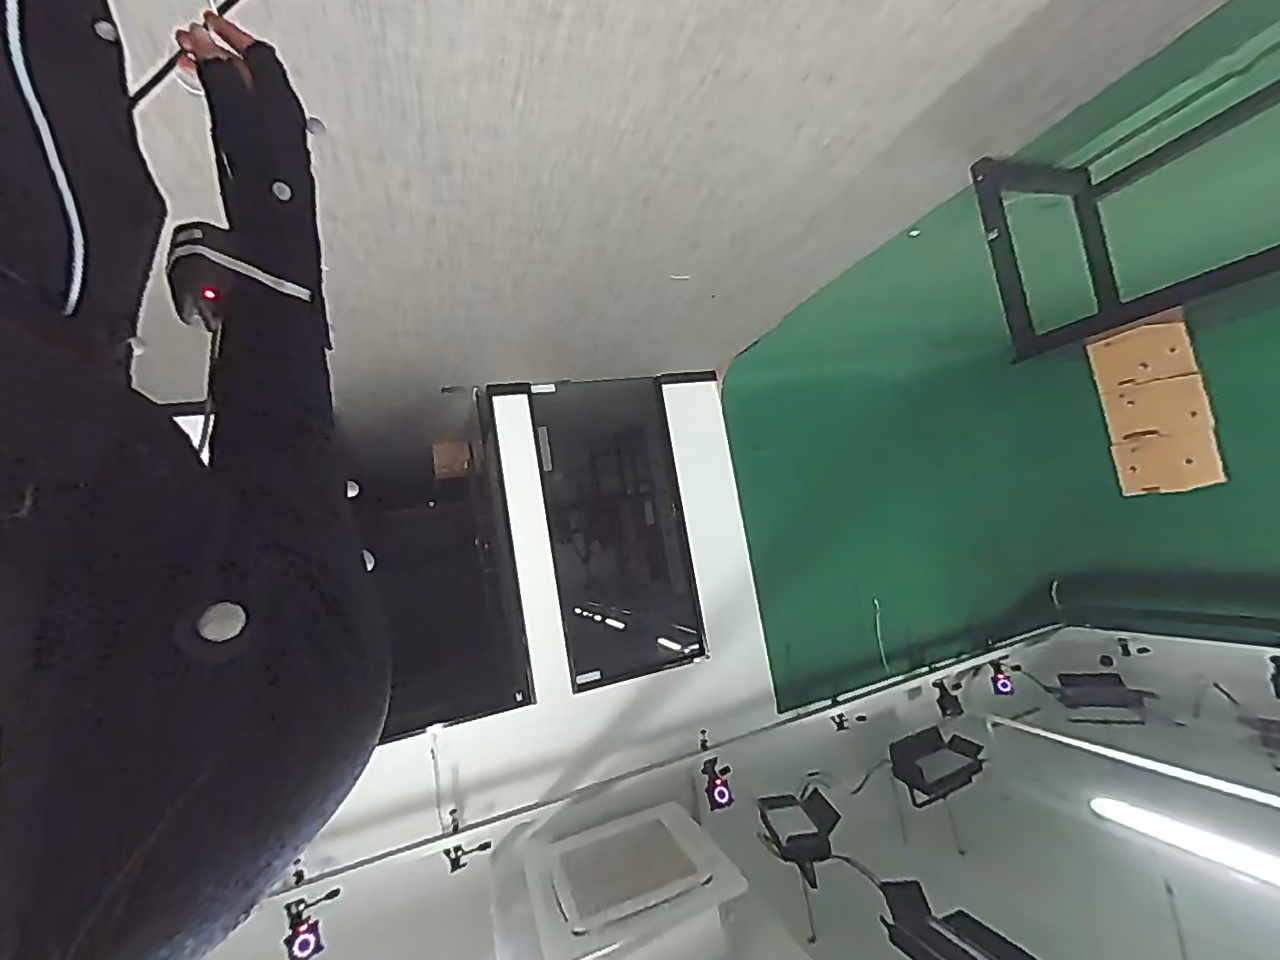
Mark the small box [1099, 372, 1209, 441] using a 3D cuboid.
[{"bbox_3d":[1.581,-0.229,1.669,0.179,0.176,0.168,-9,175,-14],"label":"small box"}]

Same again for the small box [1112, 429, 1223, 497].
[{"bbox_3d":[1.611,-0.052,1.660,0.179,0.176,0.168,-10,175,-14],"label":"small box"}]
